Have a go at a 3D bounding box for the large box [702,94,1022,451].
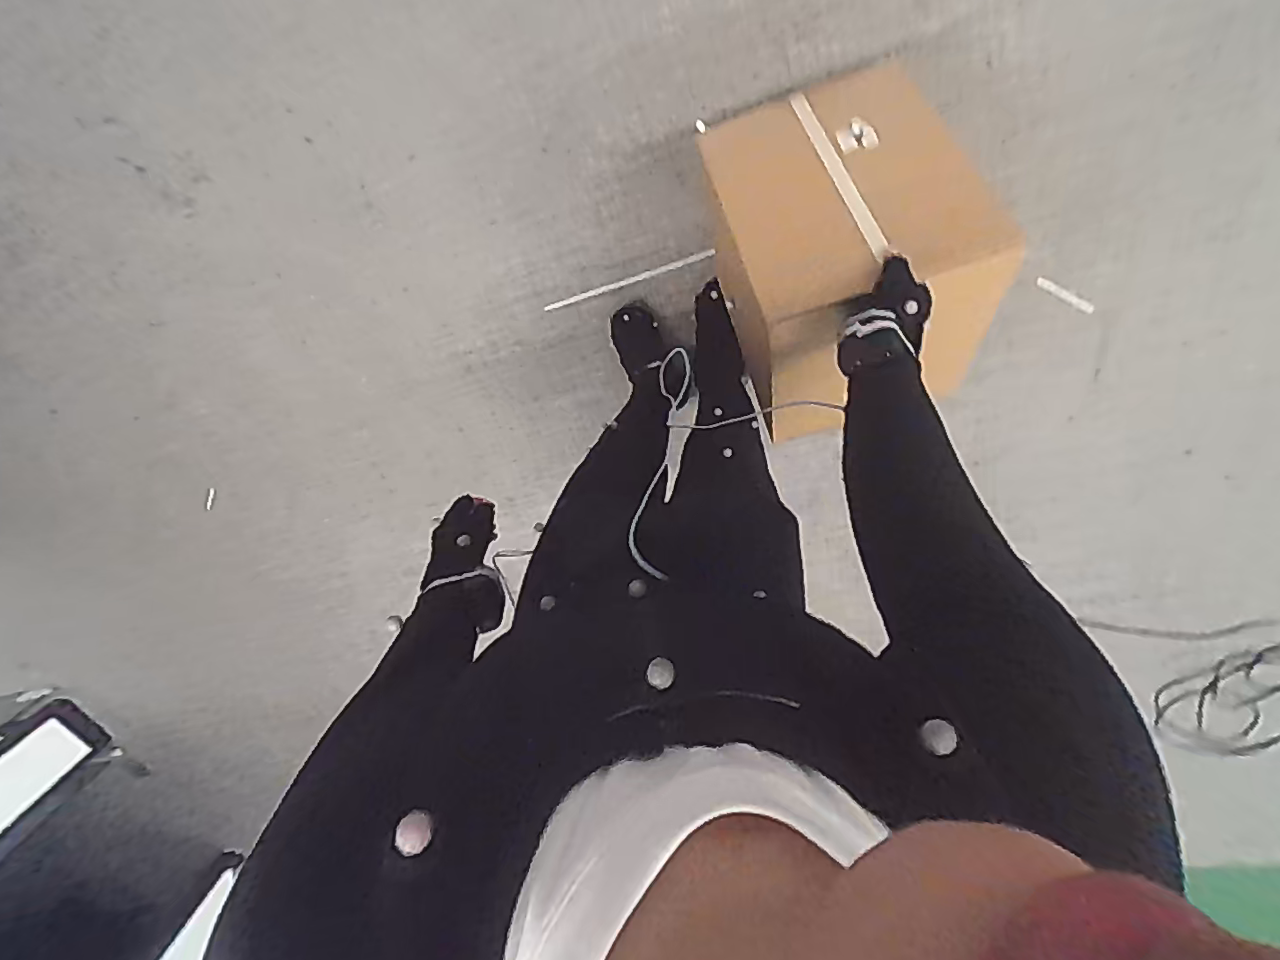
[{"bbox_3d":[0.318,-0.320,0.887,0.320,0.408,0.320,-15,151,7],"label":"large box"}]
